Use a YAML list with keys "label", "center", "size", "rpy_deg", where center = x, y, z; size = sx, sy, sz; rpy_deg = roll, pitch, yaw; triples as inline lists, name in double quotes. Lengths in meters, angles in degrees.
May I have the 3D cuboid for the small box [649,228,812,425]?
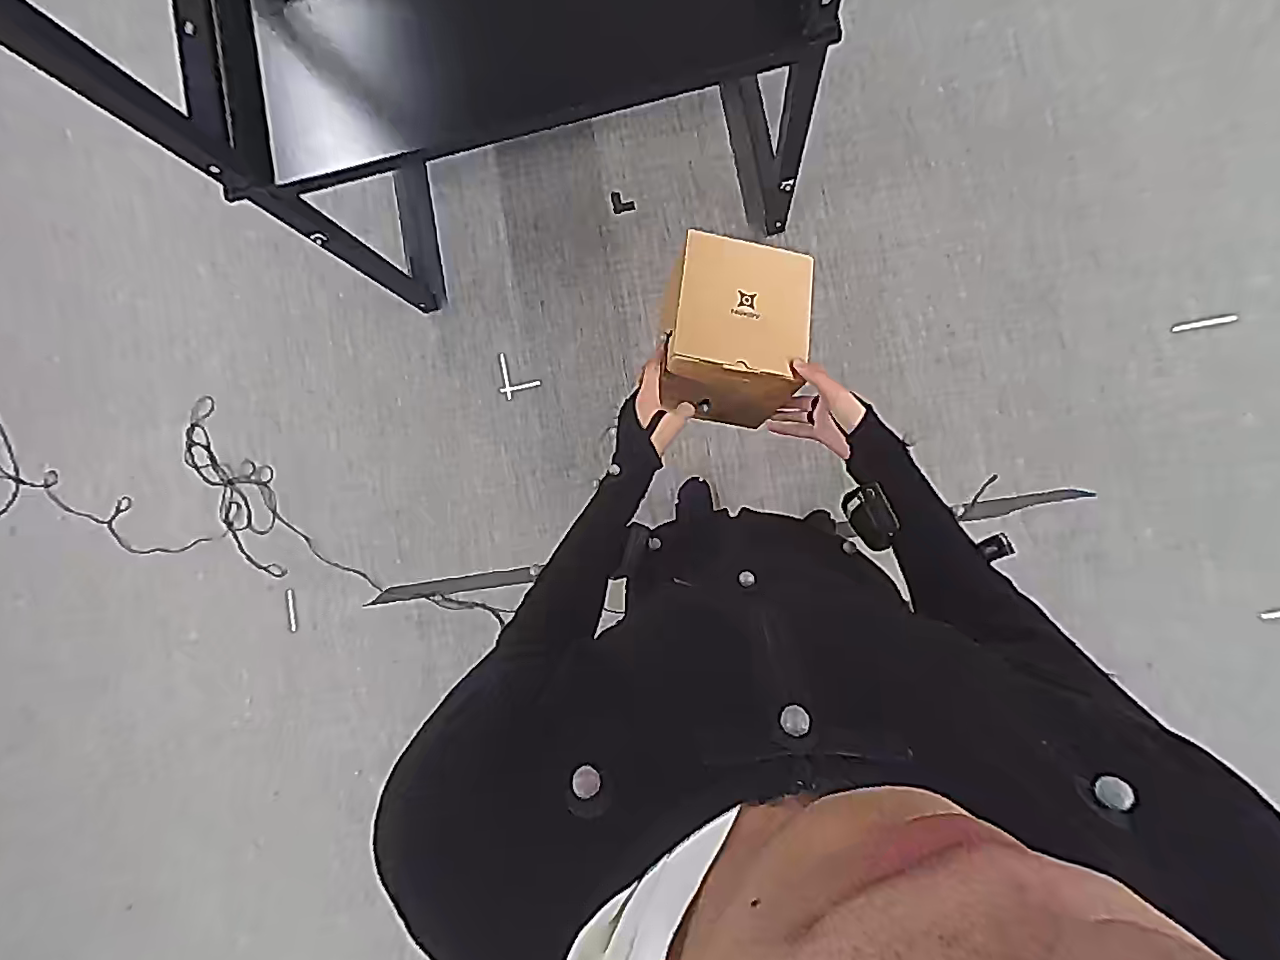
- label: "small box"
  center: [0.112, -0.192, 0.722]
  size: [0.168, 0.176, 0.179]
  rpy_deg: [9, 75, -8]
